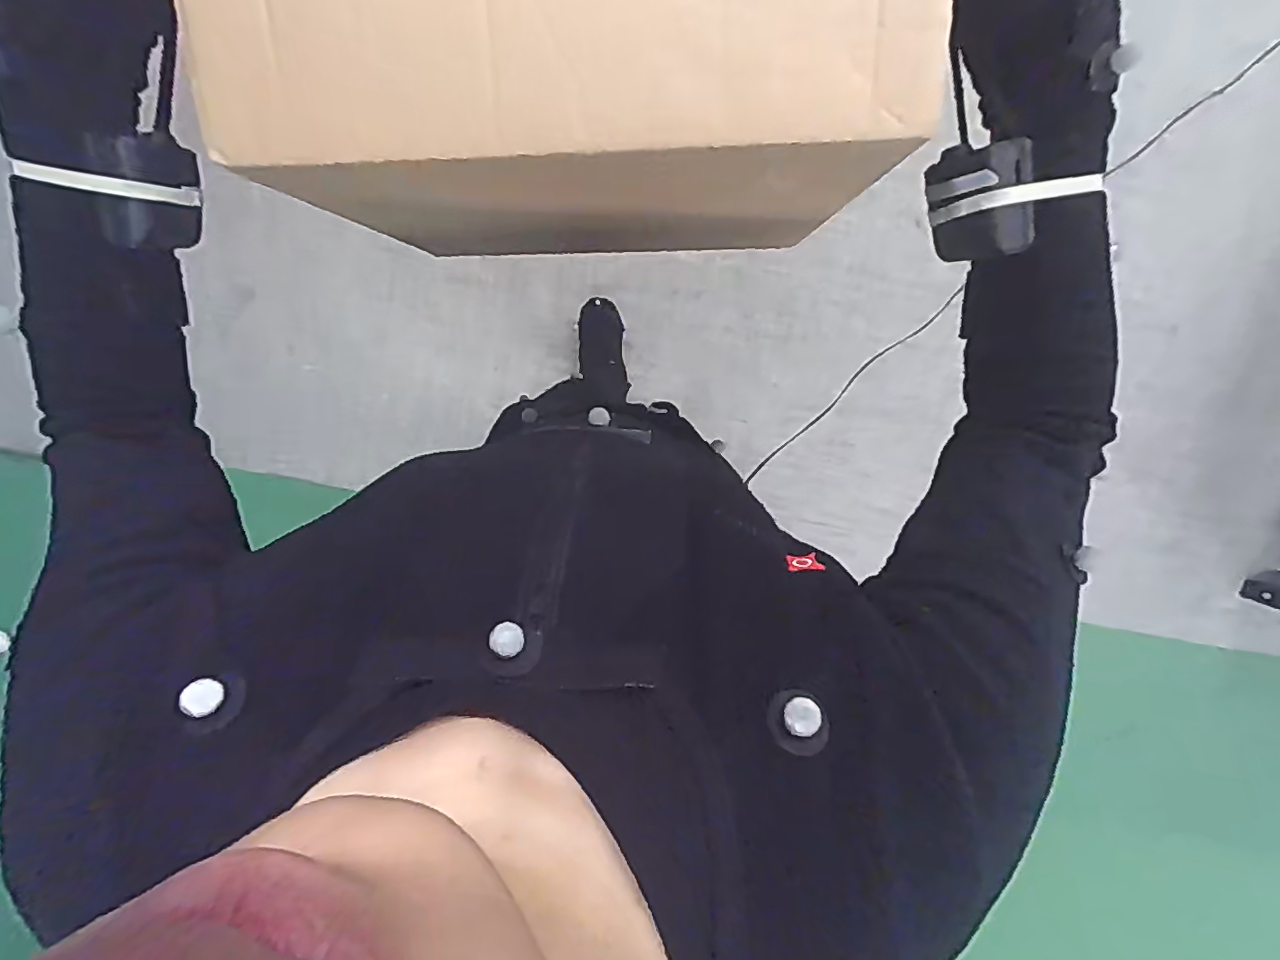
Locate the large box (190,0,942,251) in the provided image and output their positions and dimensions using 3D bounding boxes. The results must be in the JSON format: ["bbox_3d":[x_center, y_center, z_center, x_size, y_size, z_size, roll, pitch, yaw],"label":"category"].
[{"bbox_3d":[-0.042,-0.373,0.409,0.408,0.320,0.320,-2,104,1],"label":"large box"}]
